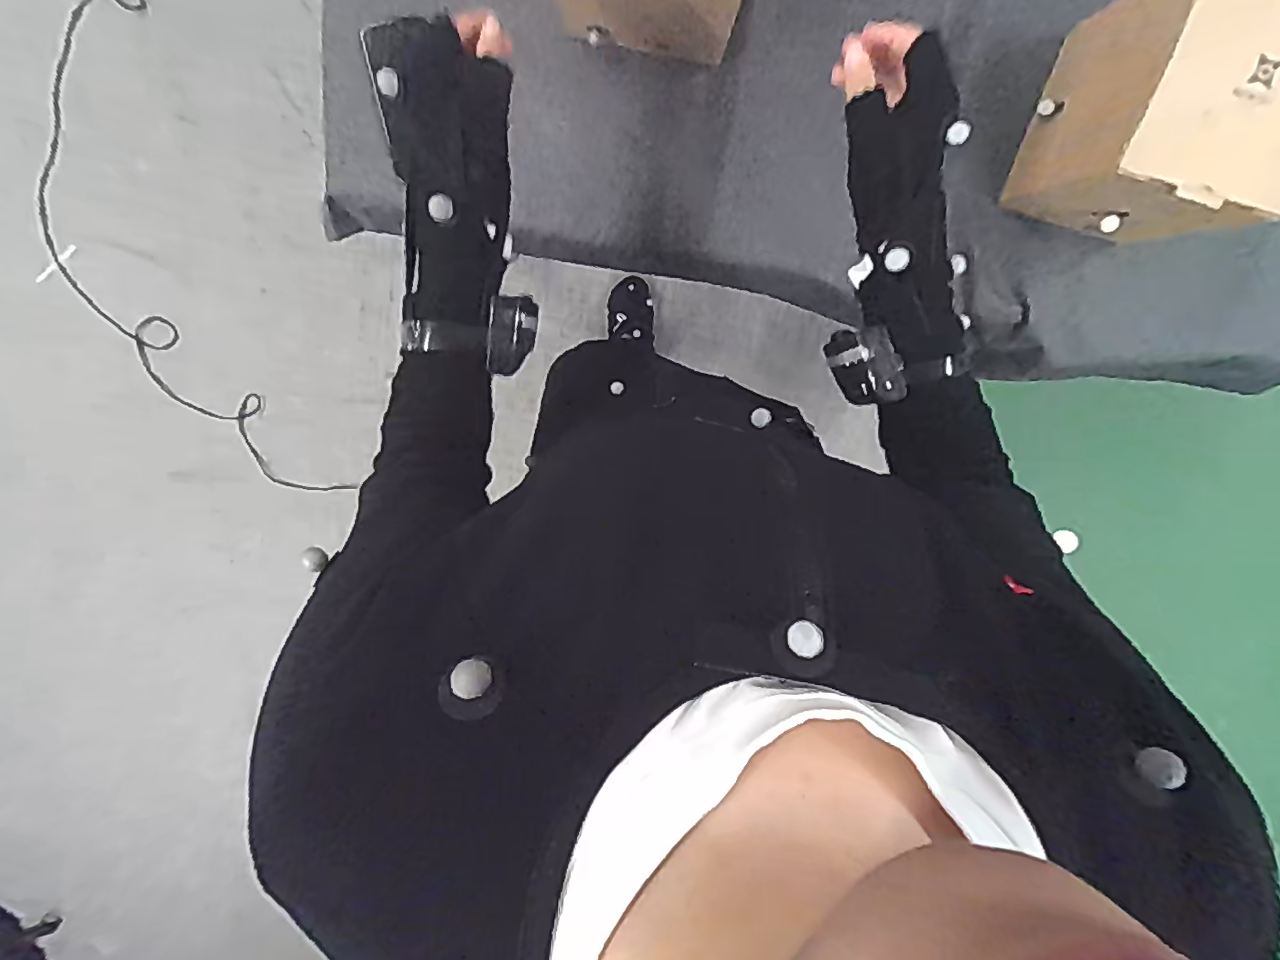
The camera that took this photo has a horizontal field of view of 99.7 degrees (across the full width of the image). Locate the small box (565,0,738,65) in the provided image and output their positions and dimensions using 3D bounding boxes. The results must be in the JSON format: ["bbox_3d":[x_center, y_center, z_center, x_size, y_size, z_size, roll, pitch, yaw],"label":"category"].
[{"bbox_3d":[0.019,-0.514,0.481,0.168,0.176,0.179,8,106,-4],"label":"small box"}]

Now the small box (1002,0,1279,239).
[{"bbox_3d":[0.508,-0.356,0.538,0.168,0.176,0.179,13,107,-5],"label":"small box"}]
